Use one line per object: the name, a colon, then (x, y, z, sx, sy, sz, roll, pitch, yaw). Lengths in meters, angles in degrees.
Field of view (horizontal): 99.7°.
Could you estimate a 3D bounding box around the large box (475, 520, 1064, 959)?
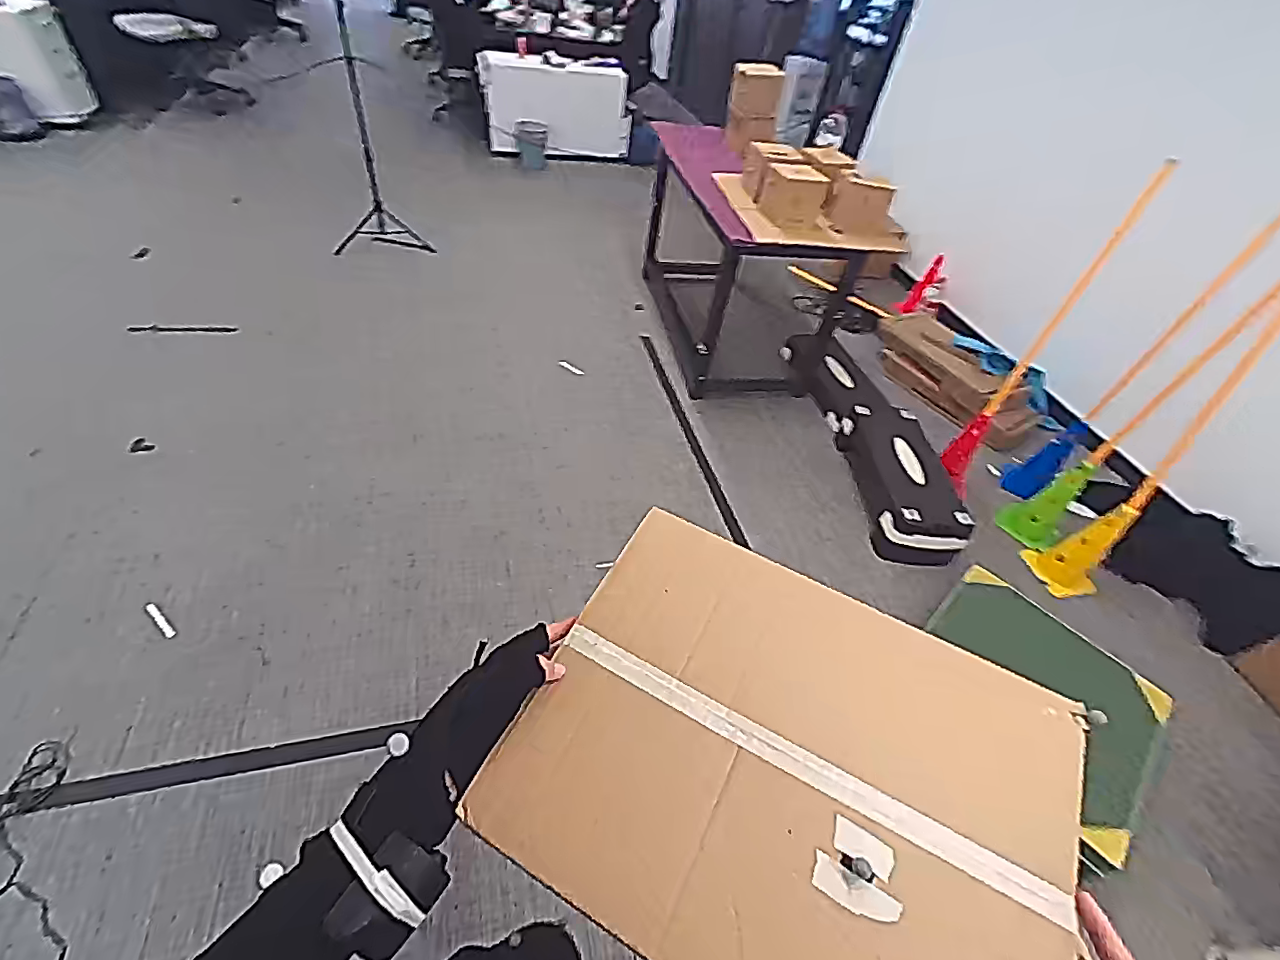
large box: (0.113, 0.310, 0.553, 0.408, 0.320, 0.320, 25, 57, 16)
